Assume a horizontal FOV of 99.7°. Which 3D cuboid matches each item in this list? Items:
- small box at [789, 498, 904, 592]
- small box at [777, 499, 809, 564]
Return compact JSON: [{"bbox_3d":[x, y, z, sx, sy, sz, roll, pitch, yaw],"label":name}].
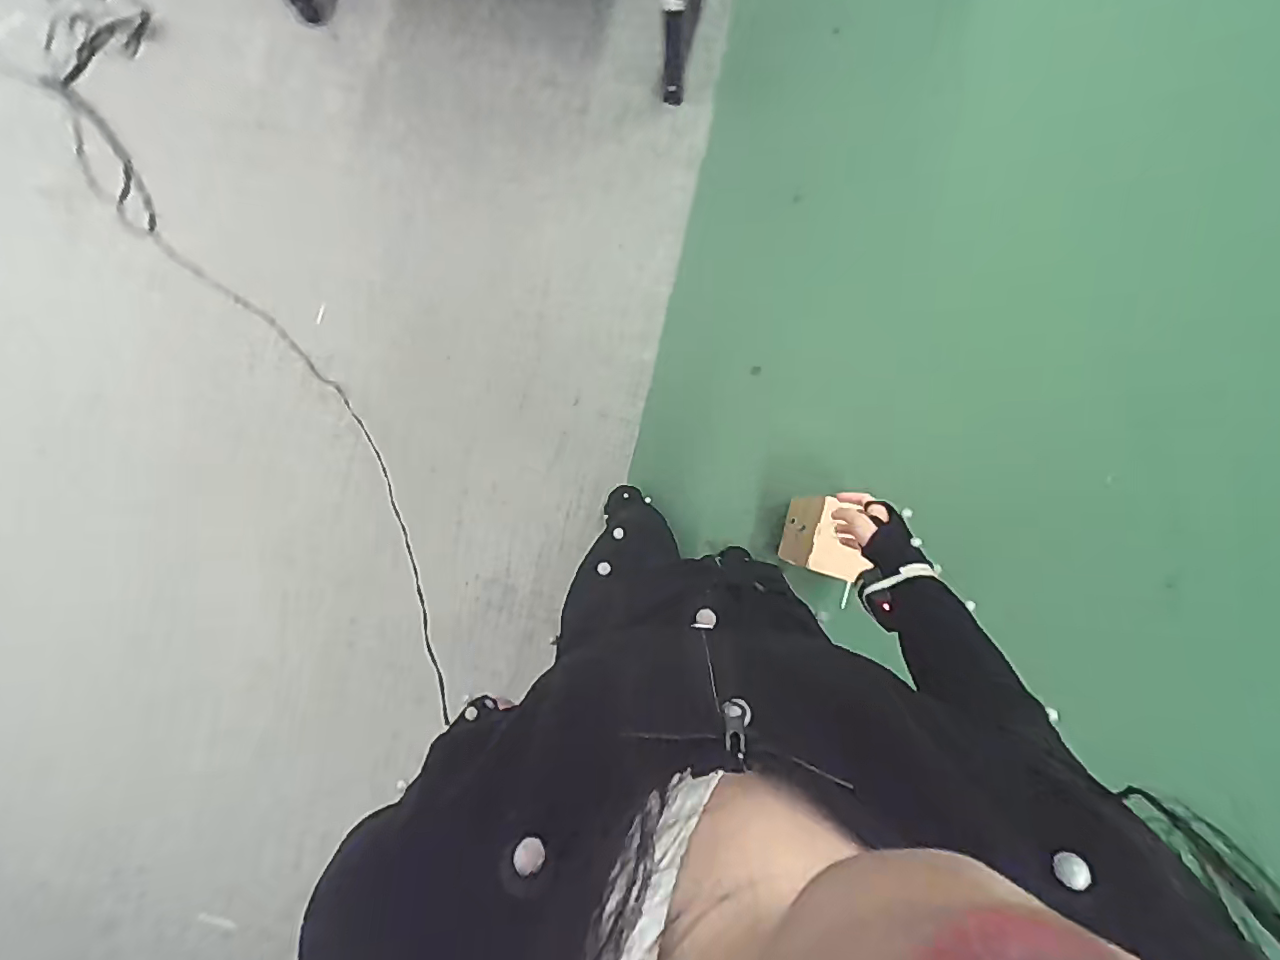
[{"bbox_3d":[0.463,0.140,1.237,0.179,0.176,0.168,17,88,3],"label":"small box"},{"bbox_3d":[0.469,0.150,1.402,0.179,0.176,0.168,14,88,2],"label":"small box"}]
